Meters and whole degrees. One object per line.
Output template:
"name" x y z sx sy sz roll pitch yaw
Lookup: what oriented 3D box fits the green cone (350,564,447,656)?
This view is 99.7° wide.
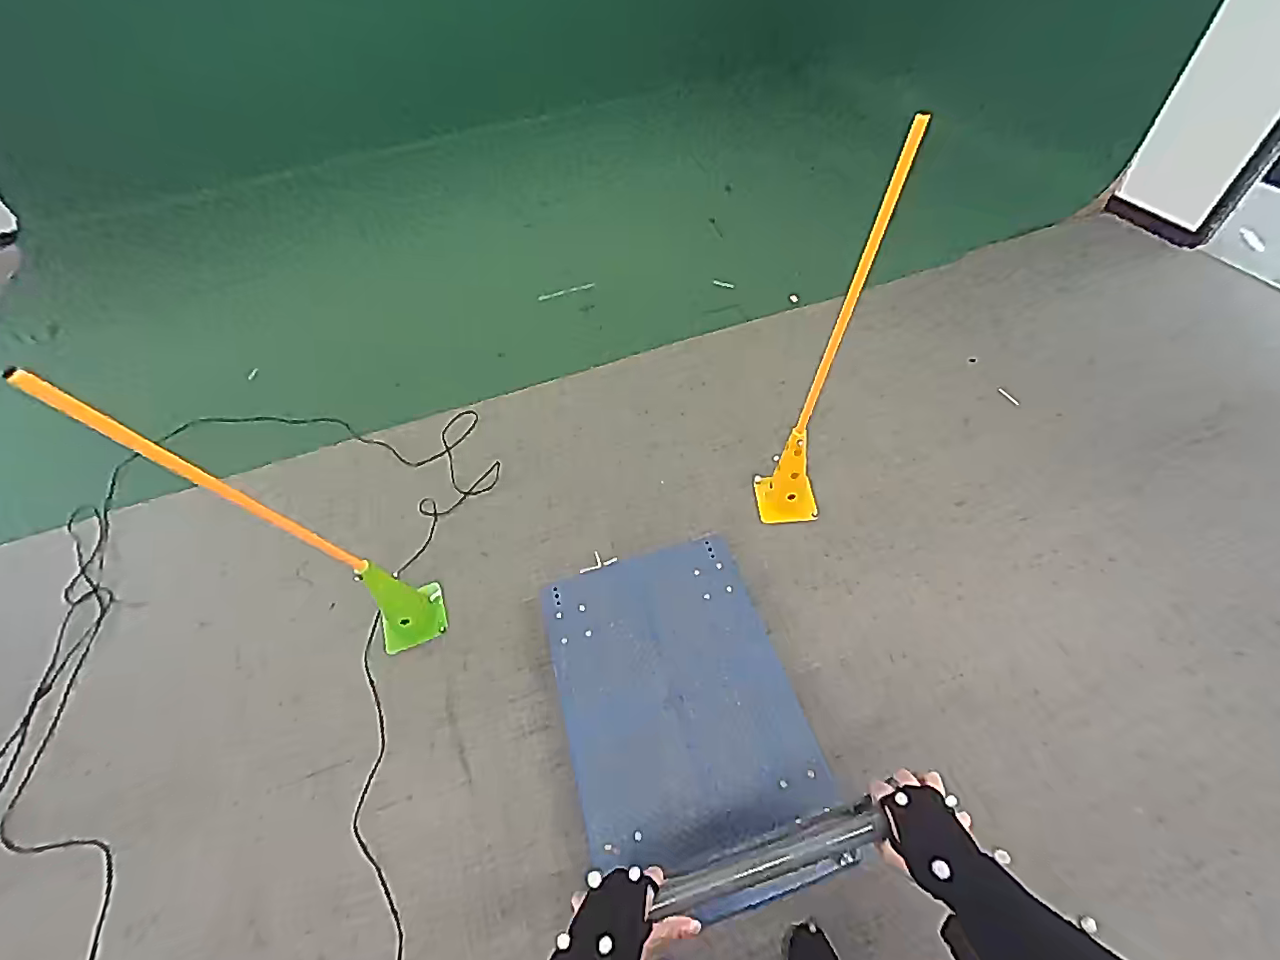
"green cone" -0.765 0.353 1.649 0.202 0.368 0.200 -22 53 -8
